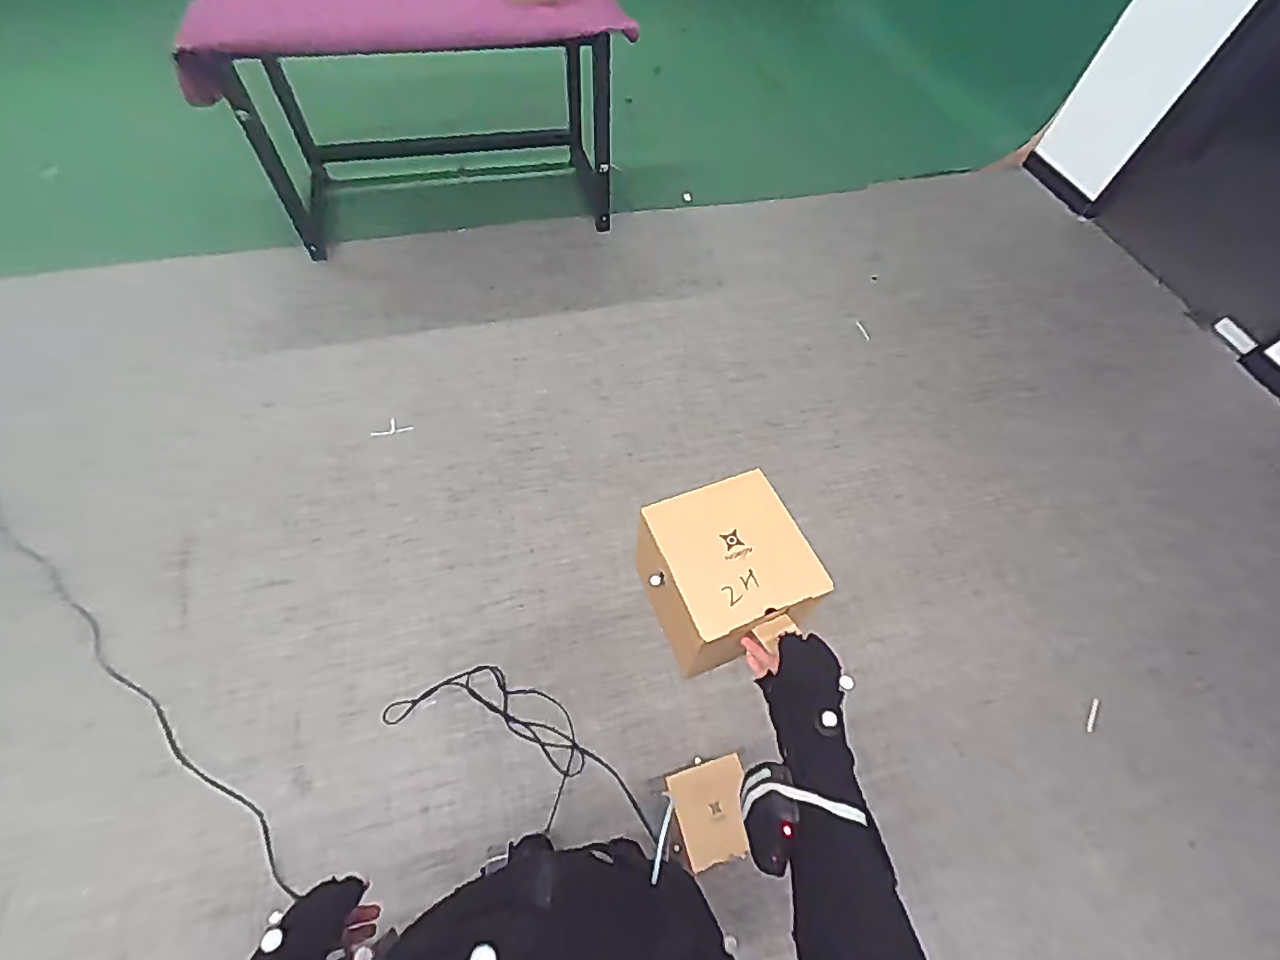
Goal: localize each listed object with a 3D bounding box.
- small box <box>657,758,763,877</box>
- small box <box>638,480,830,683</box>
[{"bbox_3d":[0.143,0.726,1.177,0.168,0.176,0.179,-12,61,-13],"label":"small box"},{"bbox_3d":[0.102,0.132,0.689,0.168,0.176,0.179,-18,60,-14],"label":"small box"}]
